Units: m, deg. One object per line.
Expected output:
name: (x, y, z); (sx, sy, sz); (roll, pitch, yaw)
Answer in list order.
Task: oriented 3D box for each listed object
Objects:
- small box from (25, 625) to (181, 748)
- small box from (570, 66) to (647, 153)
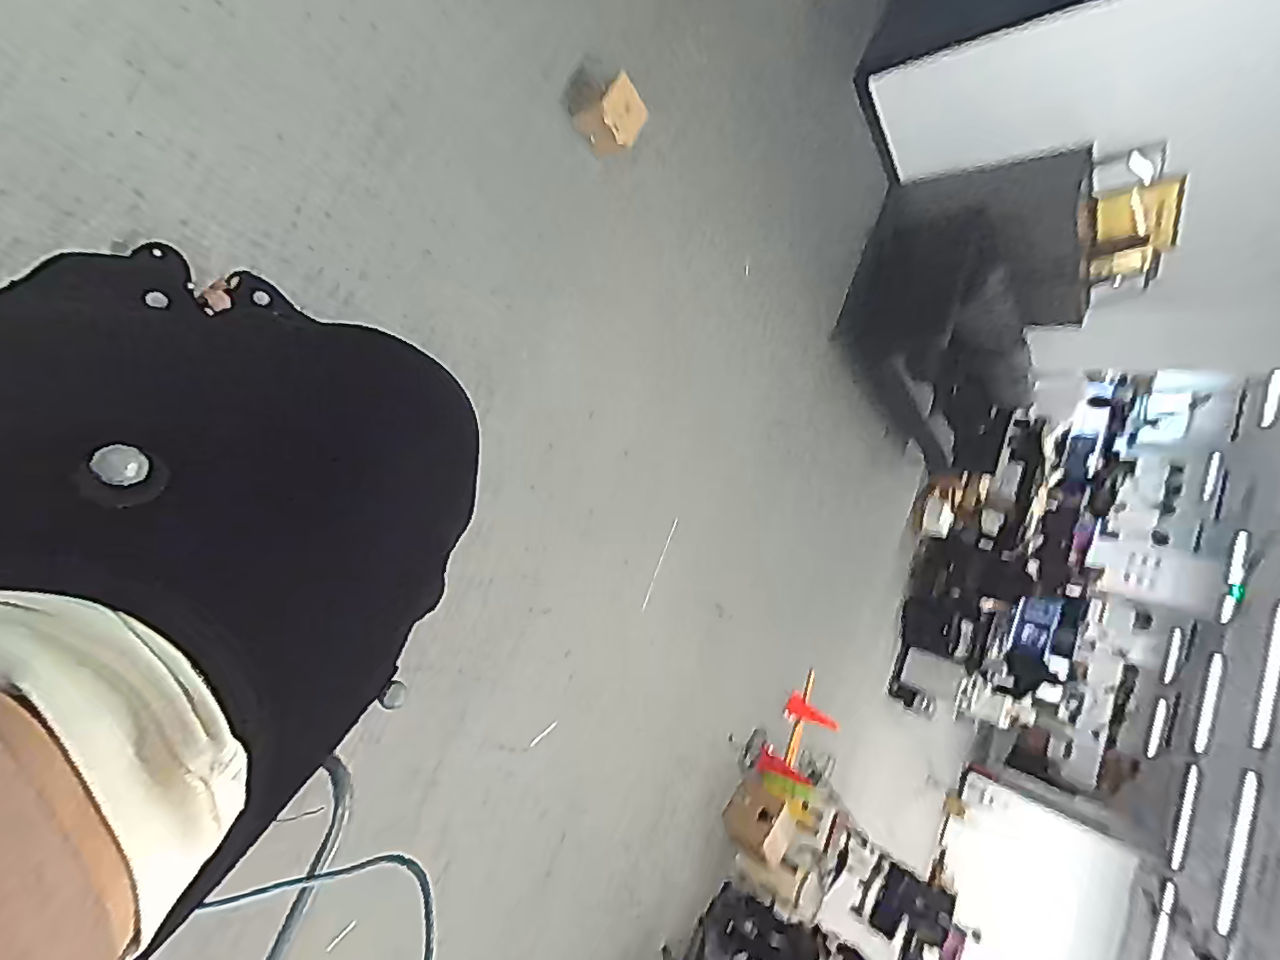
small box: (-1.056, 0.402, 1.065); (0.168, 0.176, 0.179); (29, 78, -47)
small box: (-0.112, -1.288, 1.890); (0.168, 0.176, 0.179); (46, 68, -40)
